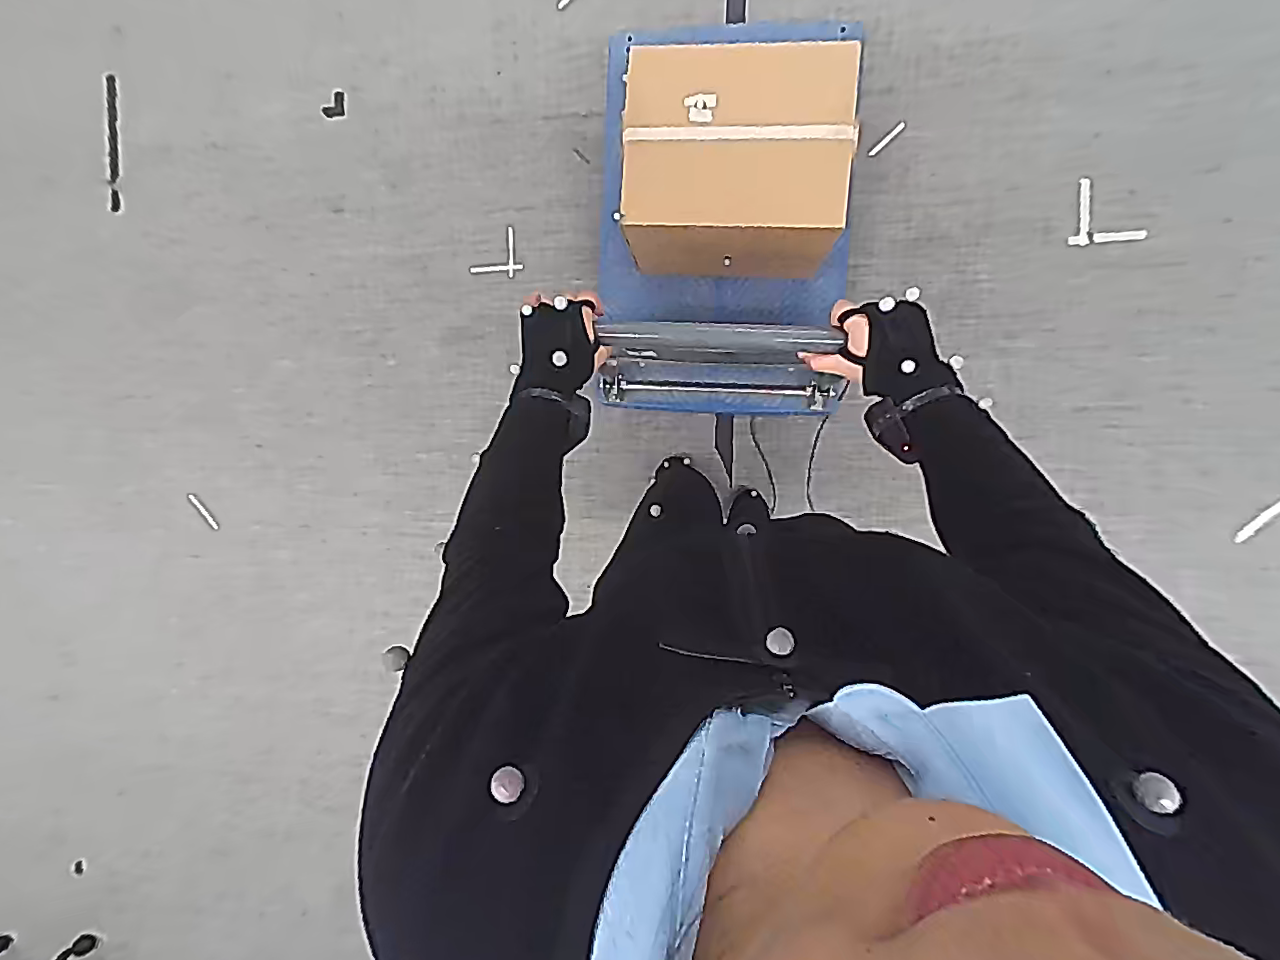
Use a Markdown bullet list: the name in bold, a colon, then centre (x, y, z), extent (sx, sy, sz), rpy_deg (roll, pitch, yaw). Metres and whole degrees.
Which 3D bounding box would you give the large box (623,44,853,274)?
- **large box**: centre (0.193, -0.628, 1.124), extent (0.408, 0.320, 0.320), rpy_deg (4, 93, 8)
